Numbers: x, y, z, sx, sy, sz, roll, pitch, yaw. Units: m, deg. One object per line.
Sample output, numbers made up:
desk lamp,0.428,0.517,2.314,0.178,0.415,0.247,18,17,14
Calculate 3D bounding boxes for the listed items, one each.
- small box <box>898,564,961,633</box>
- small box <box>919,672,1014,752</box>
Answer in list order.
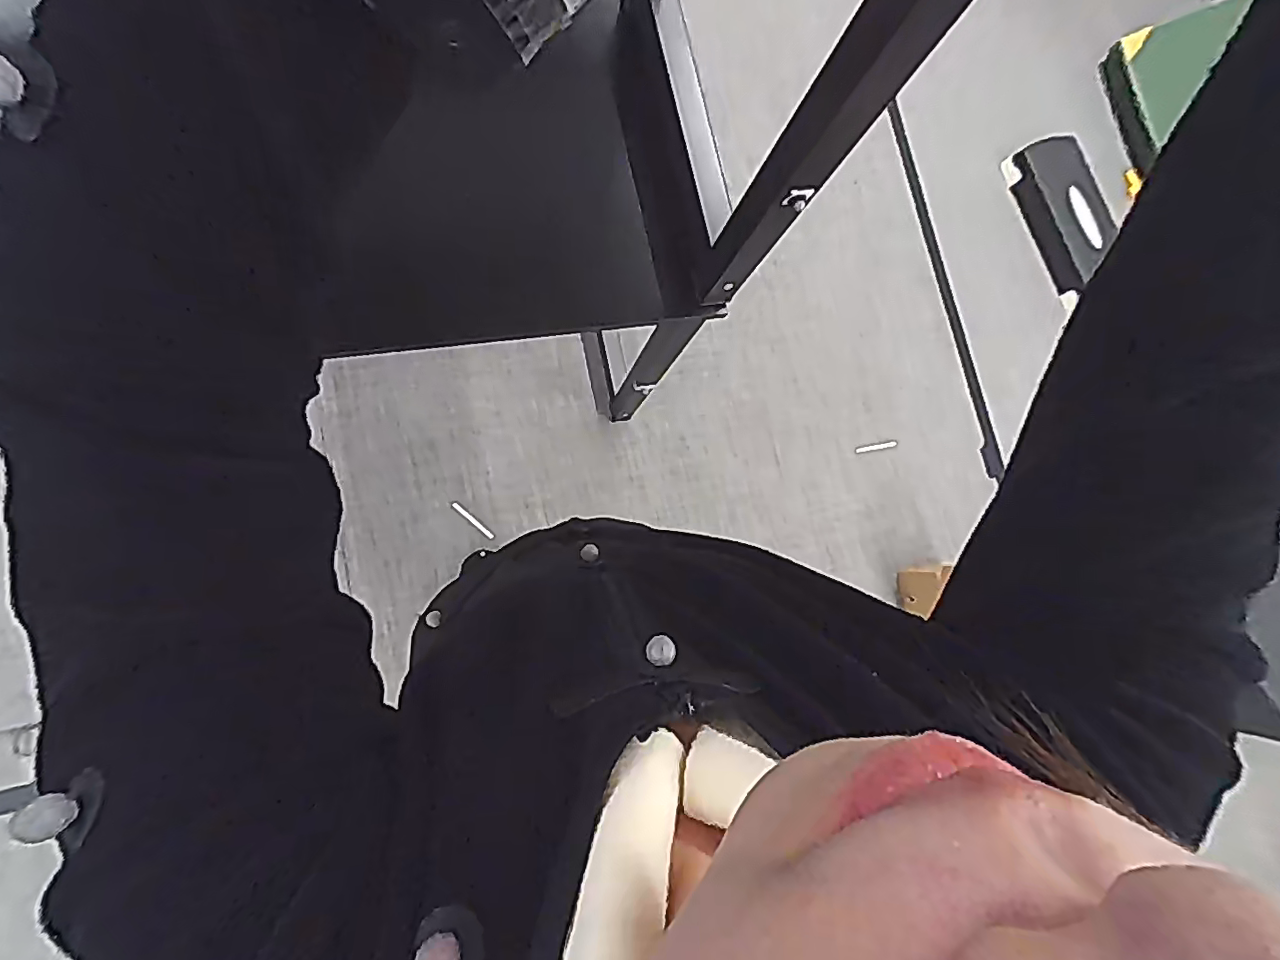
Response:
small box,0.914,0.352,1.634,0.168,0.176,0.179,-5,84,-14
small box,0.954,0.679,1.600,0.179,0.176,0.168,-4,84,-14
